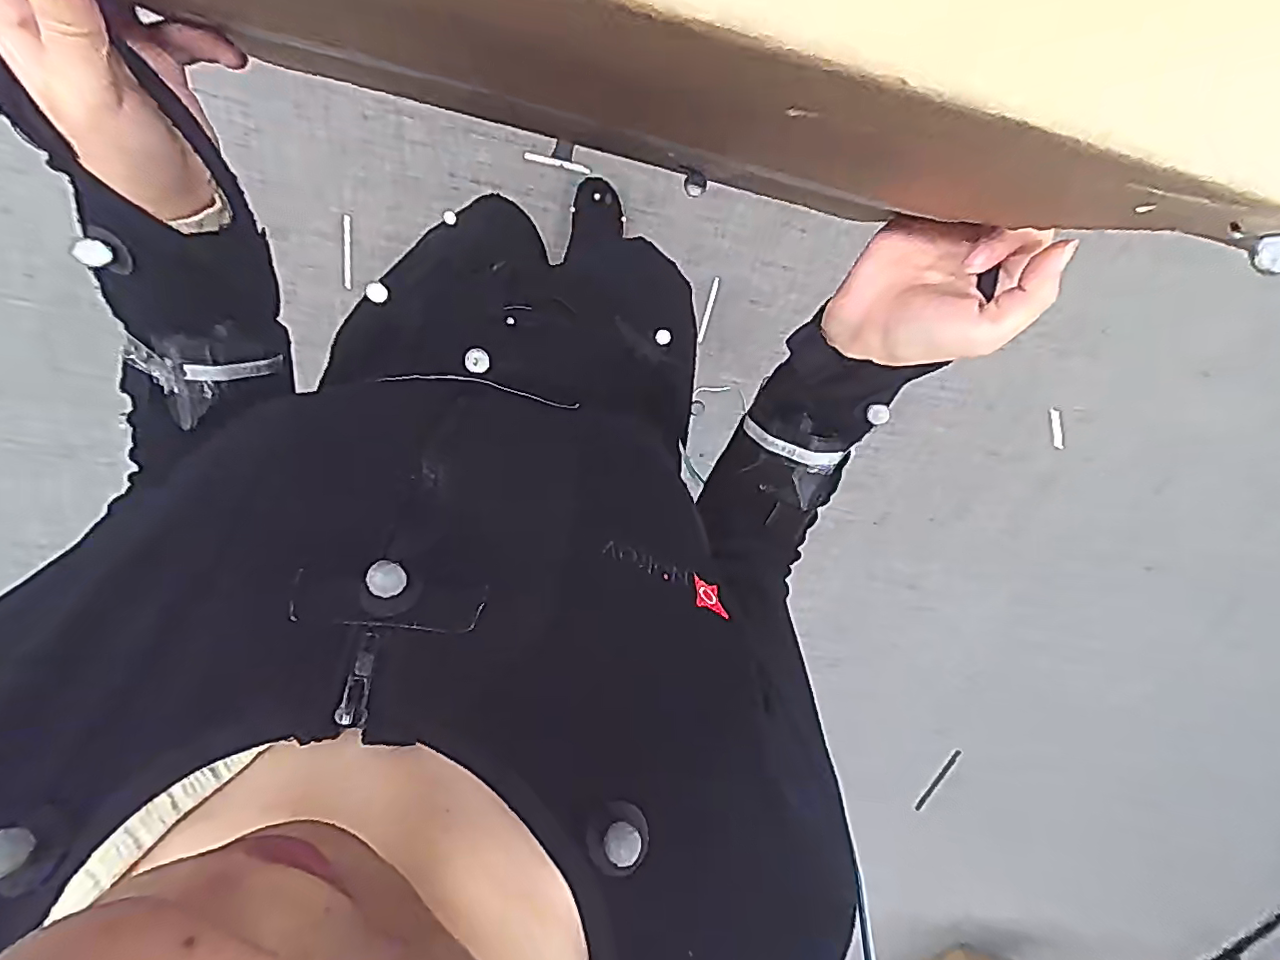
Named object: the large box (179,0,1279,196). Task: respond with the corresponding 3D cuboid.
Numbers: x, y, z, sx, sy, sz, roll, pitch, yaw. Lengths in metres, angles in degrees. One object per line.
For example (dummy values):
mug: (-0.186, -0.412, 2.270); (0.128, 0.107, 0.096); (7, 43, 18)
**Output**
large box: (0.005, -0.310, 0.169); (0.408, 0.320, 0.320); (9, 117, -9)
